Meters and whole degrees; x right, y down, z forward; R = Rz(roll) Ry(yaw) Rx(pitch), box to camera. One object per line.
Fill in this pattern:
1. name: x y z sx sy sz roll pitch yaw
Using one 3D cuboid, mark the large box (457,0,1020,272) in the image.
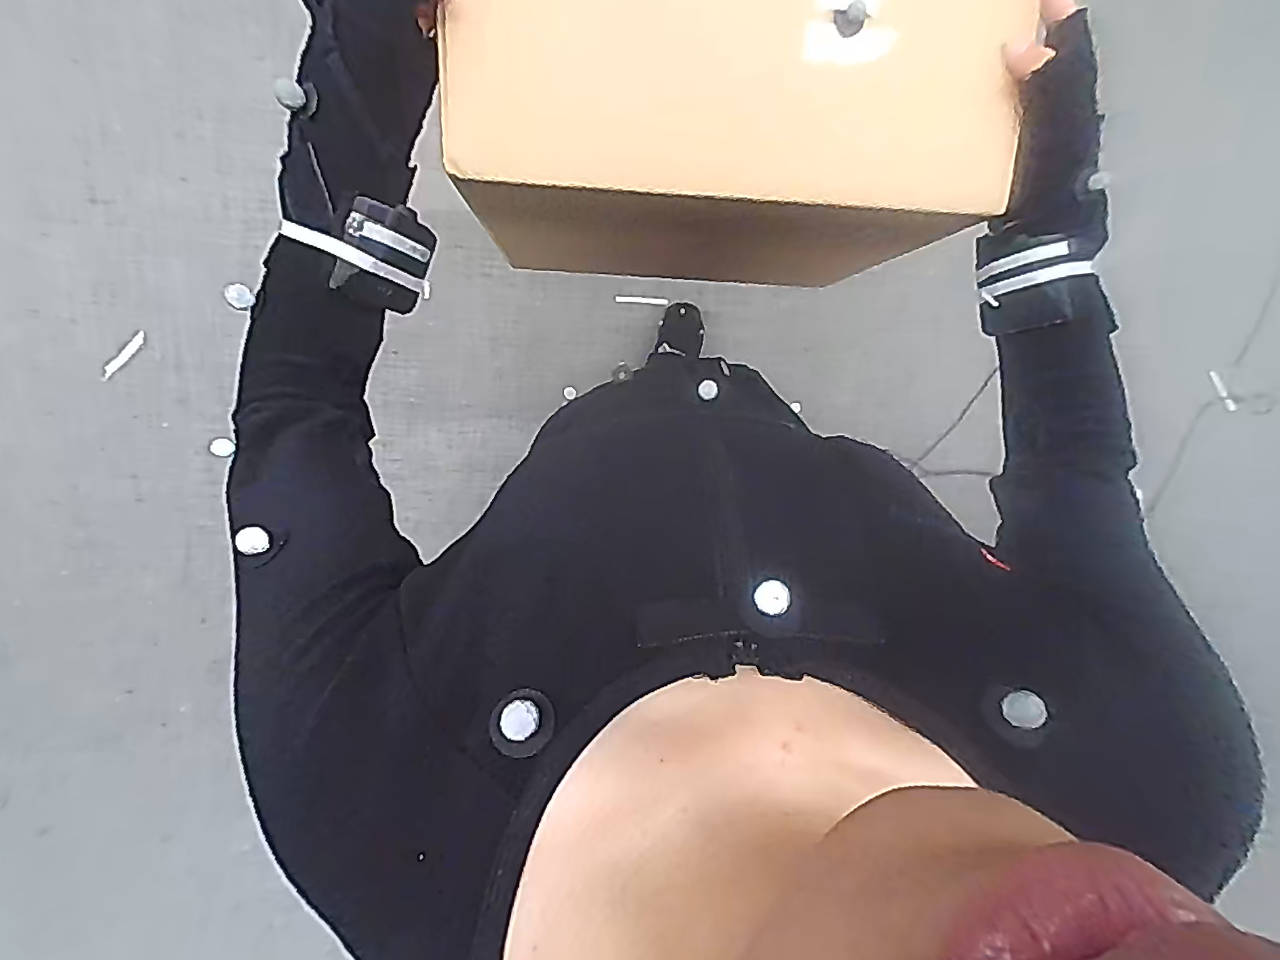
1. large box: 0.060 -0.392 0.512 0.408 0.320 0.320 0 101 -6
